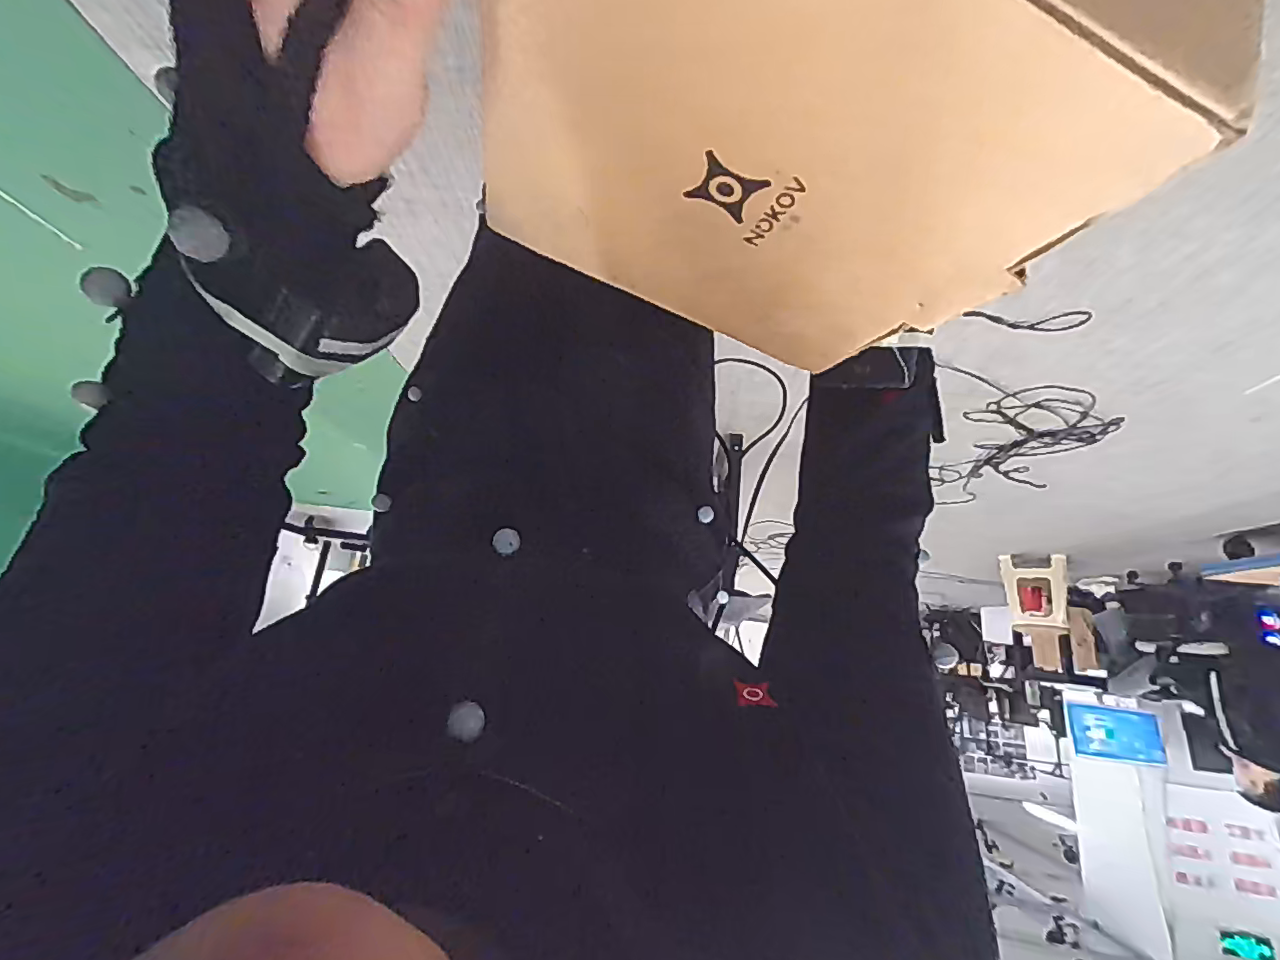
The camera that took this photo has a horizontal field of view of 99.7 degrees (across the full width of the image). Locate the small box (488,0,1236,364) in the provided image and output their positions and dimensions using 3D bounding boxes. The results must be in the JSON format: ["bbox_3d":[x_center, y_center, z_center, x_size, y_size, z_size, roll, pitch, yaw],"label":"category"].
[{"bbox_3d":[0.058,-0.175,0.200,0.179,0.176,0.168,20,167,-12],"label":"small box"}]
